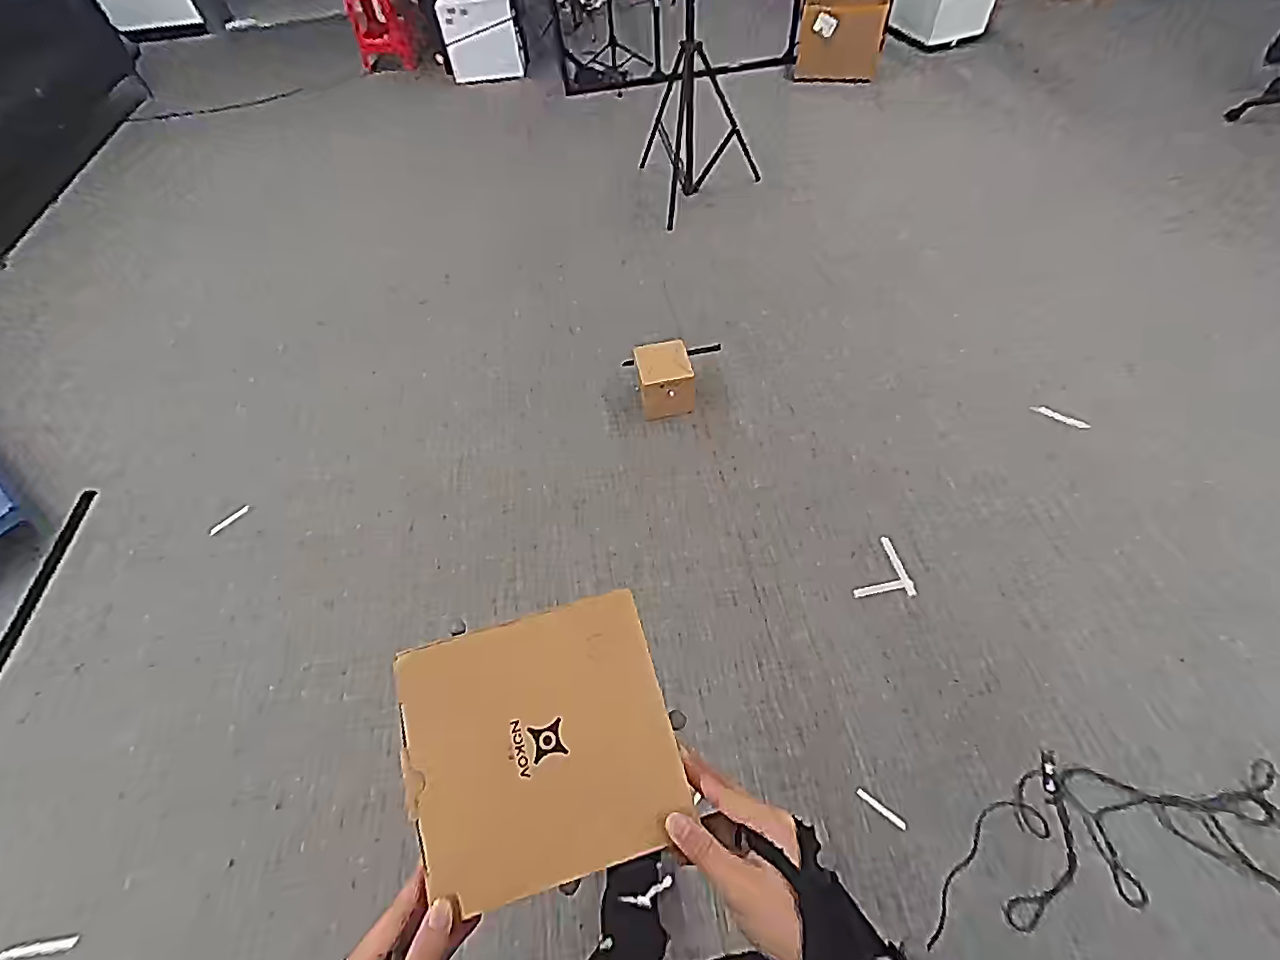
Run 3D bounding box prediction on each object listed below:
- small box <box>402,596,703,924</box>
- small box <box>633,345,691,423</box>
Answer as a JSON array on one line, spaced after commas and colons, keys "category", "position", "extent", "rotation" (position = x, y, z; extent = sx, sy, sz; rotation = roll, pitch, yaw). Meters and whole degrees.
[{"category": "small box", "position": [-0.065, 0.203, 0.441], "extent": [0.179, 0.176, 0.168], "rotation": [-15, 72, -6]}, {"category": "small box", "position": [0.073, -0.320, 1.782], "extent": [0.168, 0.176, 0.179], "rotation": [-11, 55, -3]}]
